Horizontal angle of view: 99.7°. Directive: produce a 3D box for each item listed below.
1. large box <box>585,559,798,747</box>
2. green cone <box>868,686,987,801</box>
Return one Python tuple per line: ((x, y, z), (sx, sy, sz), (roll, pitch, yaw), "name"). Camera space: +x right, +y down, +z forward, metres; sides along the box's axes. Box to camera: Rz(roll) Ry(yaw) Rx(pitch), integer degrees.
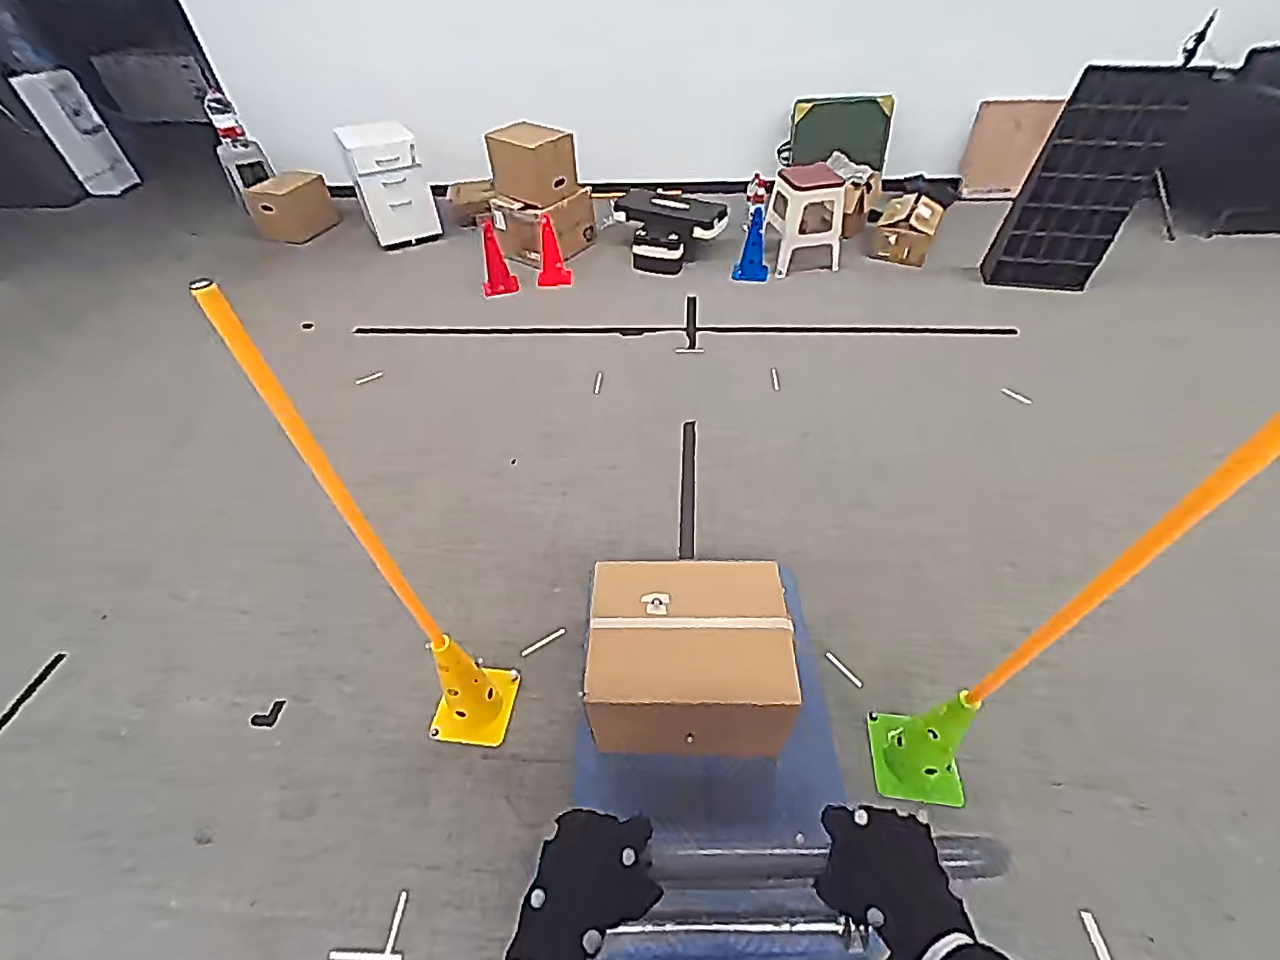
((0.106, 0.393, 1.210), (0.408, 0.320, 0.320), (-1, 47, 3), "large box")
((0.680, 0.562, 1.224), (0.202, 0.368, 0.200), (5, 47, 6), "green cone")
